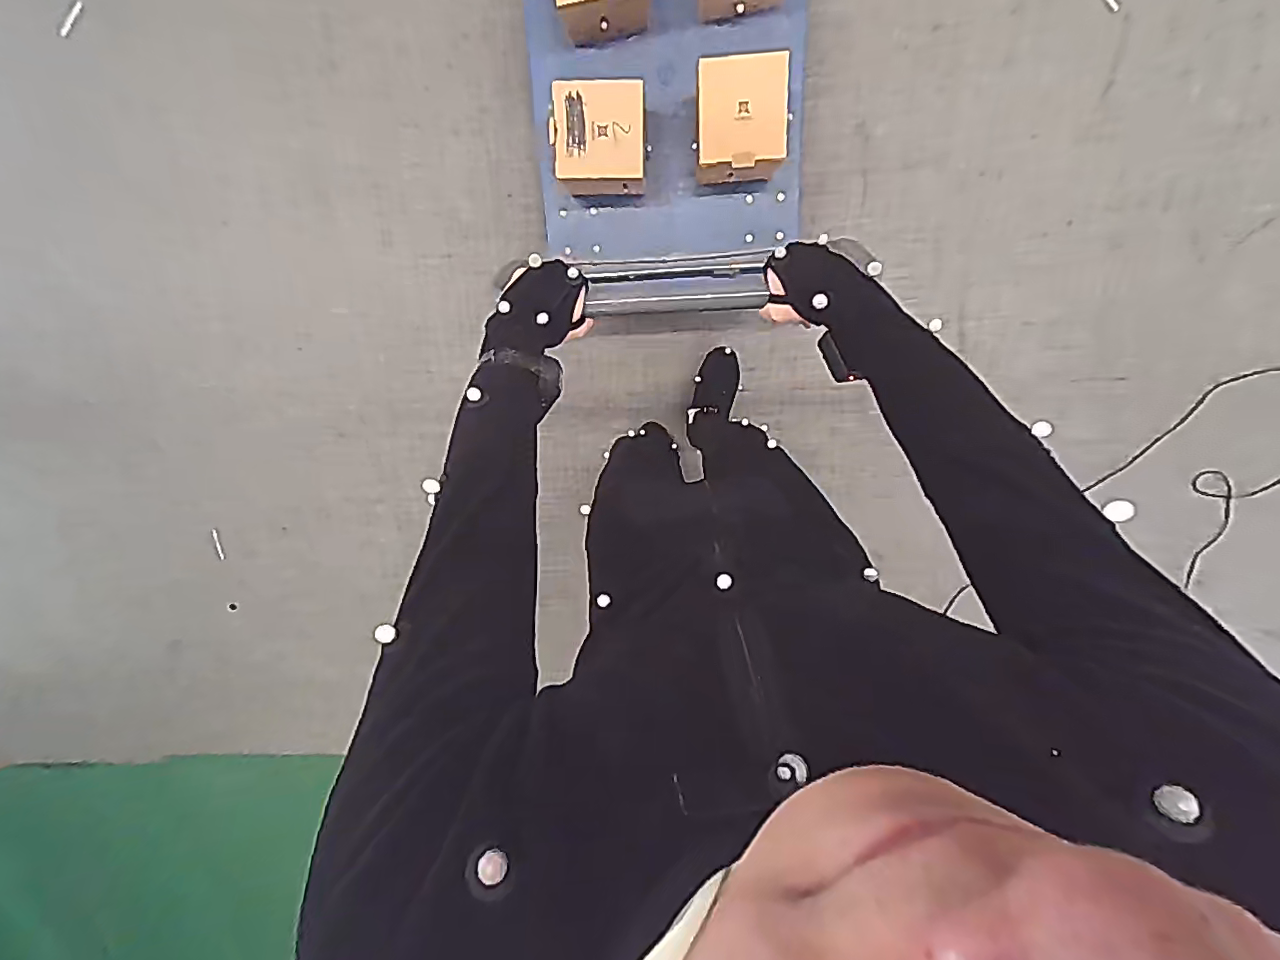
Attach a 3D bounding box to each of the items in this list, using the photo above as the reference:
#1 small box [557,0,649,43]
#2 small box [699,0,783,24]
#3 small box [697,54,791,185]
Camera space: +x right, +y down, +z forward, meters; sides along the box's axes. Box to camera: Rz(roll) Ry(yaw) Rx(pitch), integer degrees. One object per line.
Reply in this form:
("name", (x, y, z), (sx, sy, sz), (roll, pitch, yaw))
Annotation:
("small box", (-0.076, -0.967, 1.021), (0.168, 0.176, 0.179), (-8, 108, 5))
("small box", (0.188, -0.996, 0.996), (0.168, 0.176, 0.179), (-7, 109, 6))
("small box", (0.202, -0.715, 1.090), (0.168, 0.176, 0.179), (-2, 109, 4))
